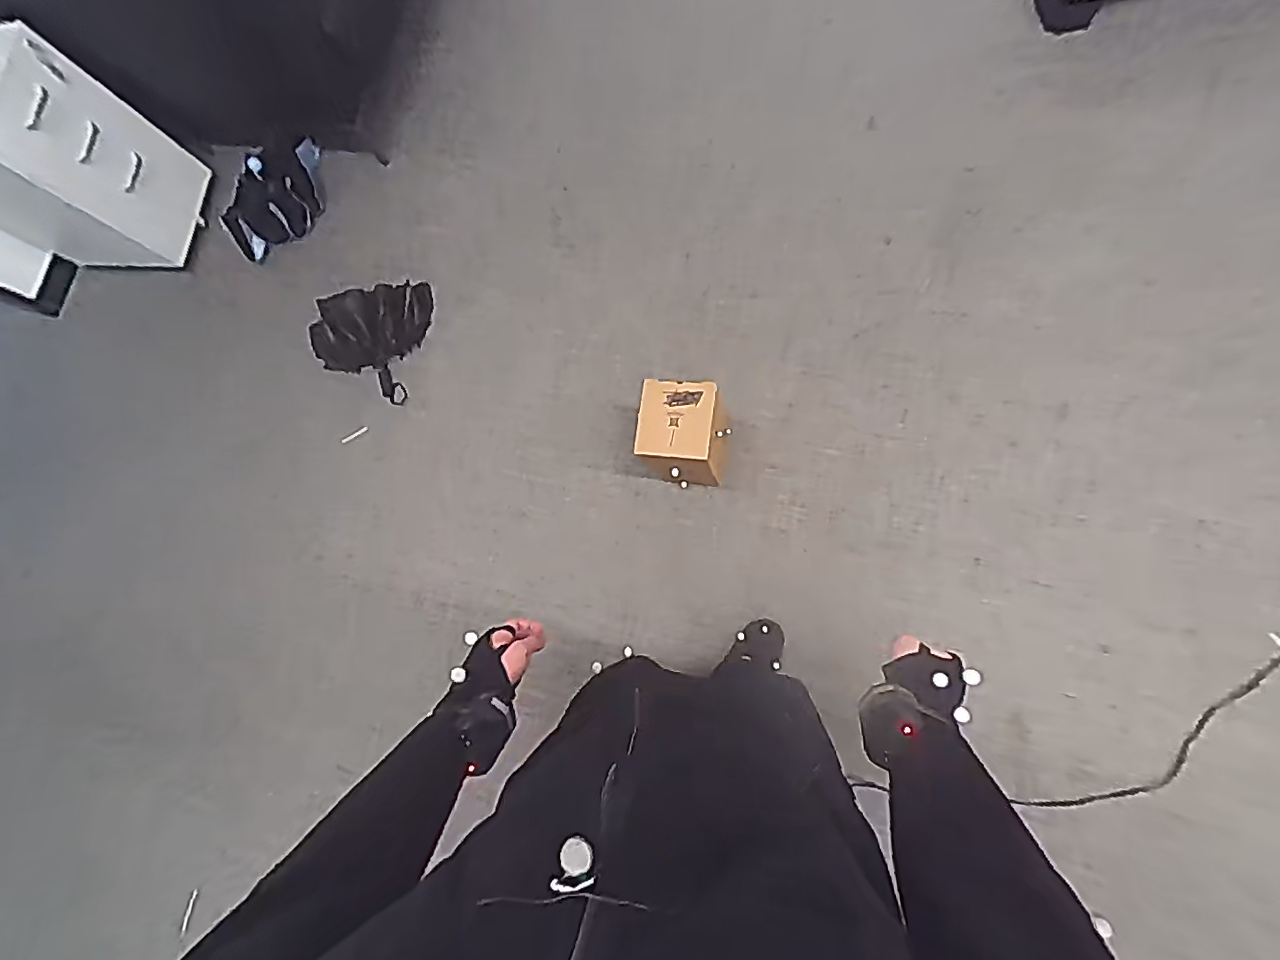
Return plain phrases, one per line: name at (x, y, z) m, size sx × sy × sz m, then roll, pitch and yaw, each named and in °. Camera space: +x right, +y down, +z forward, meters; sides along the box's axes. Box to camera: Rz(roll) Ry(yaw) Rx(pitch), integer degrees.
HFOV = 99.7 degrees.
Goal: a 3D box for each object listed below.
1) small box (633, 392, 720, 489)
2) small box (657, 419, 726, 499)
small box at (0.091, -0.087, 1.250) m, size 0.168 × 0.176 × 0.179 m, roll 6°, pitch 79°, yaw 14°
small box at (0.129, -0.059, 1.408) m, size 0.168 × 0.176 × 0.179 m, roll 7°, pitch 81°, yaw 15°
